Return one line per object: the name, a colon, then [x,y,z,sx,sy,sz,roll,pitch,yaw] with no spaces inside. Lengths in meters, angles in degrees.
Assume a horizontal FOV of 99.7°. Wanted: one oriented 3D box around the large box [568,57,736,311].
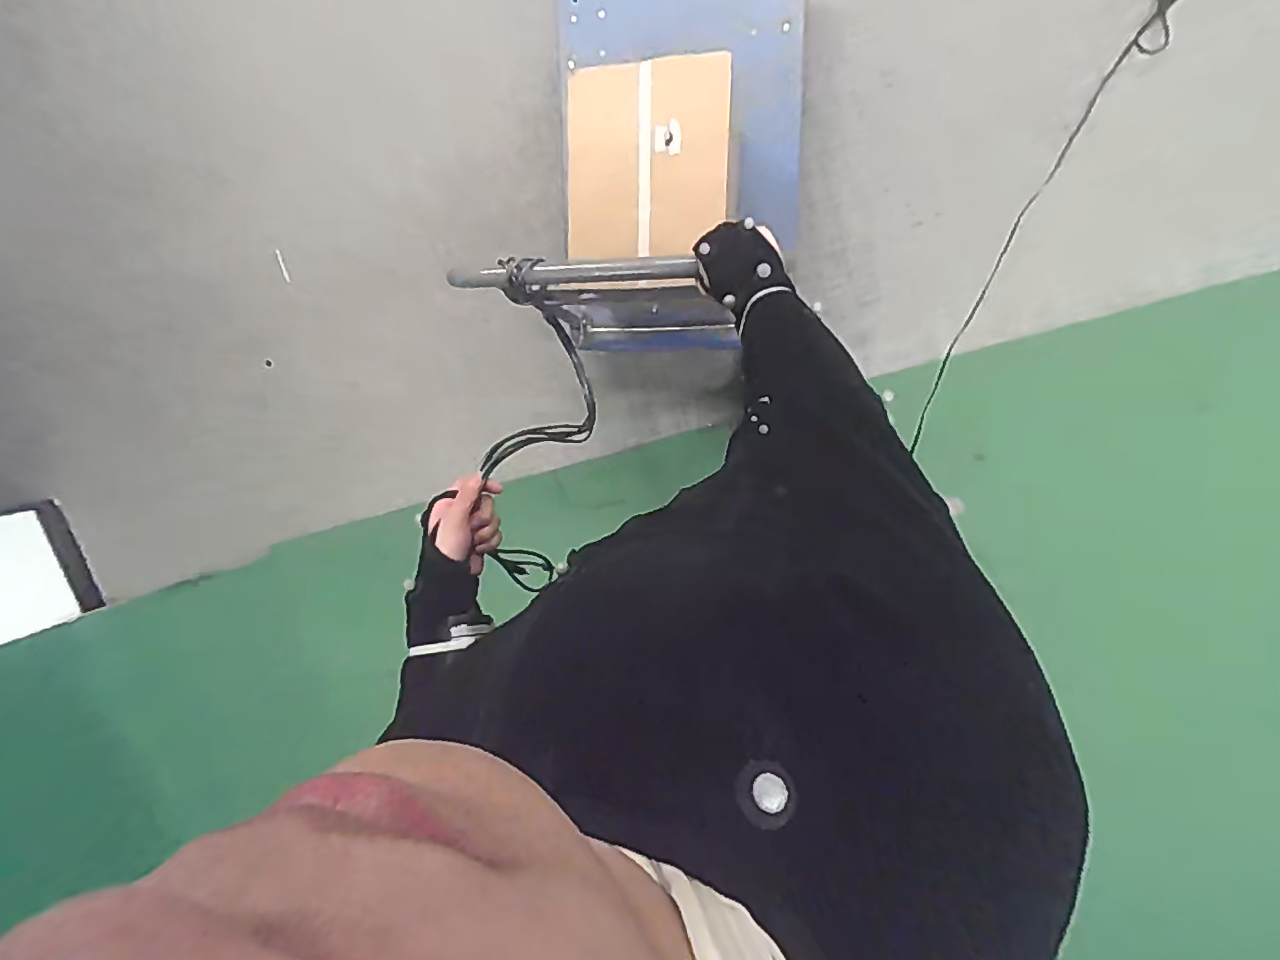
large box: [0.042,-0.602,1.186,0.320,0.320,0.408,3,100,12]
